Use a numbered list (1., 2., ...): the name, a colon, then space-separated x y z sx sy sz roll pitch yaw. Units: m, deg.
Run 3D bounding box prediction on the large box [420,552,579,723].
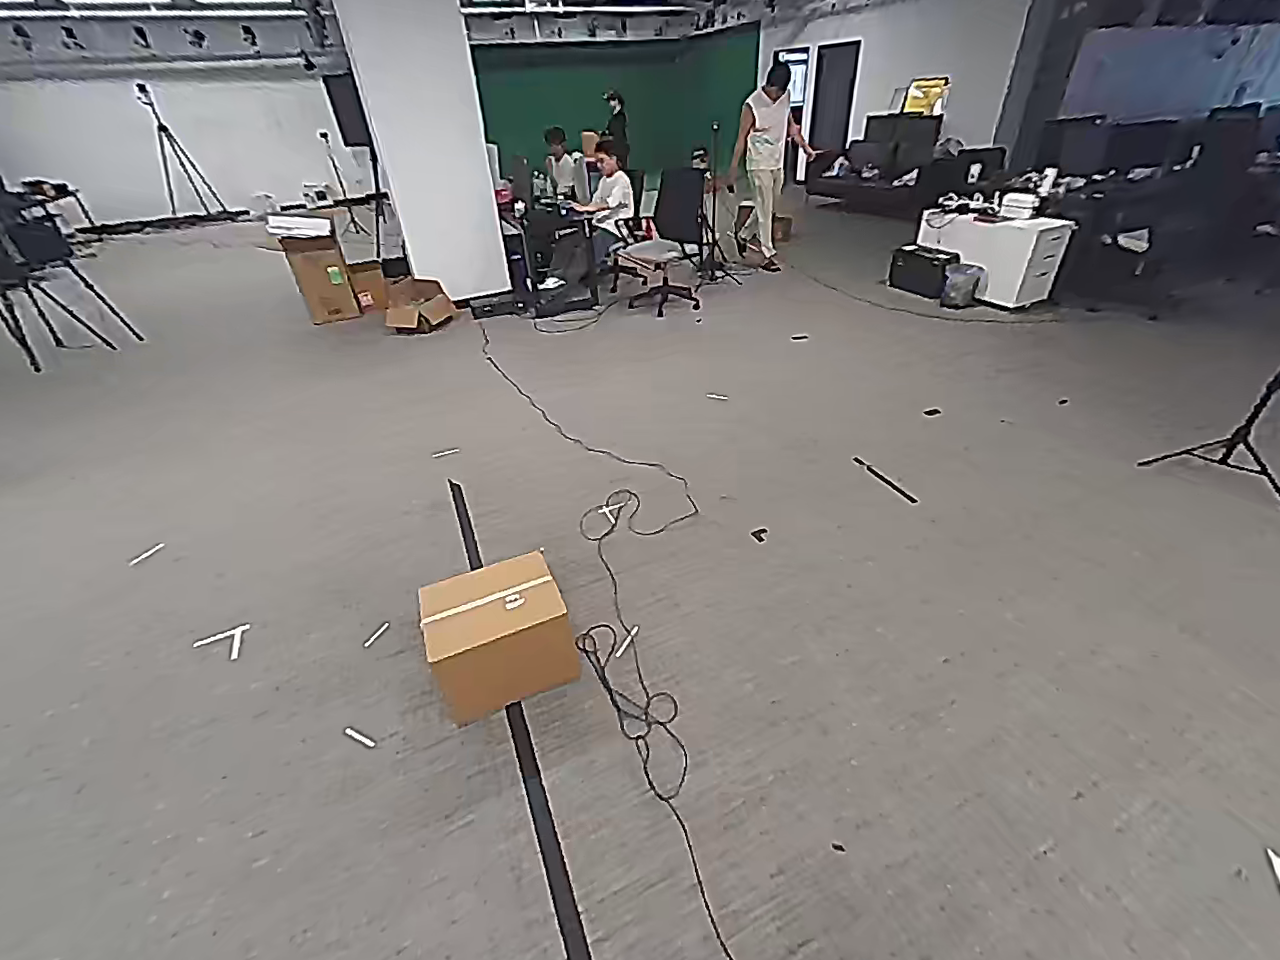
1. large box: -0.447 0.497 1.741 0.408 0.320 0.320 -17 37 -18
